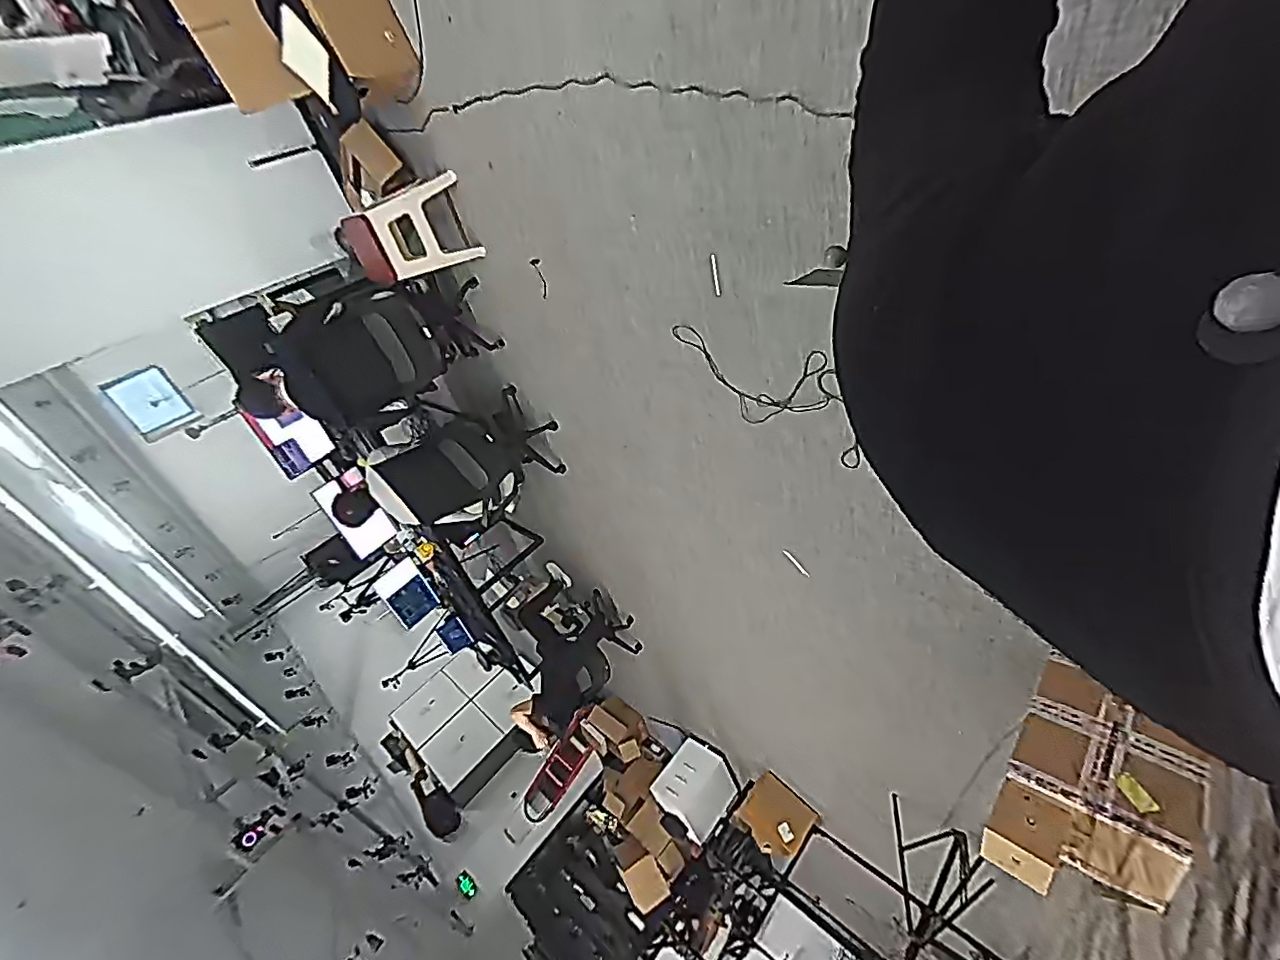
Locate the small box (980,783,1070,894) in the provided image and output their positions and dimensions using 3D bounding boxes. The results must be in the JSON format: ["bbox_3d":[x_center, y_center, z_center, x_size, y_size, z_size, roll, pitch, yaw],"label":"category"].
[{"bbox_3d":[1.097,1.011,1.540,0.168,0.176,0.179,19,136,44],"label":"small box"}]
